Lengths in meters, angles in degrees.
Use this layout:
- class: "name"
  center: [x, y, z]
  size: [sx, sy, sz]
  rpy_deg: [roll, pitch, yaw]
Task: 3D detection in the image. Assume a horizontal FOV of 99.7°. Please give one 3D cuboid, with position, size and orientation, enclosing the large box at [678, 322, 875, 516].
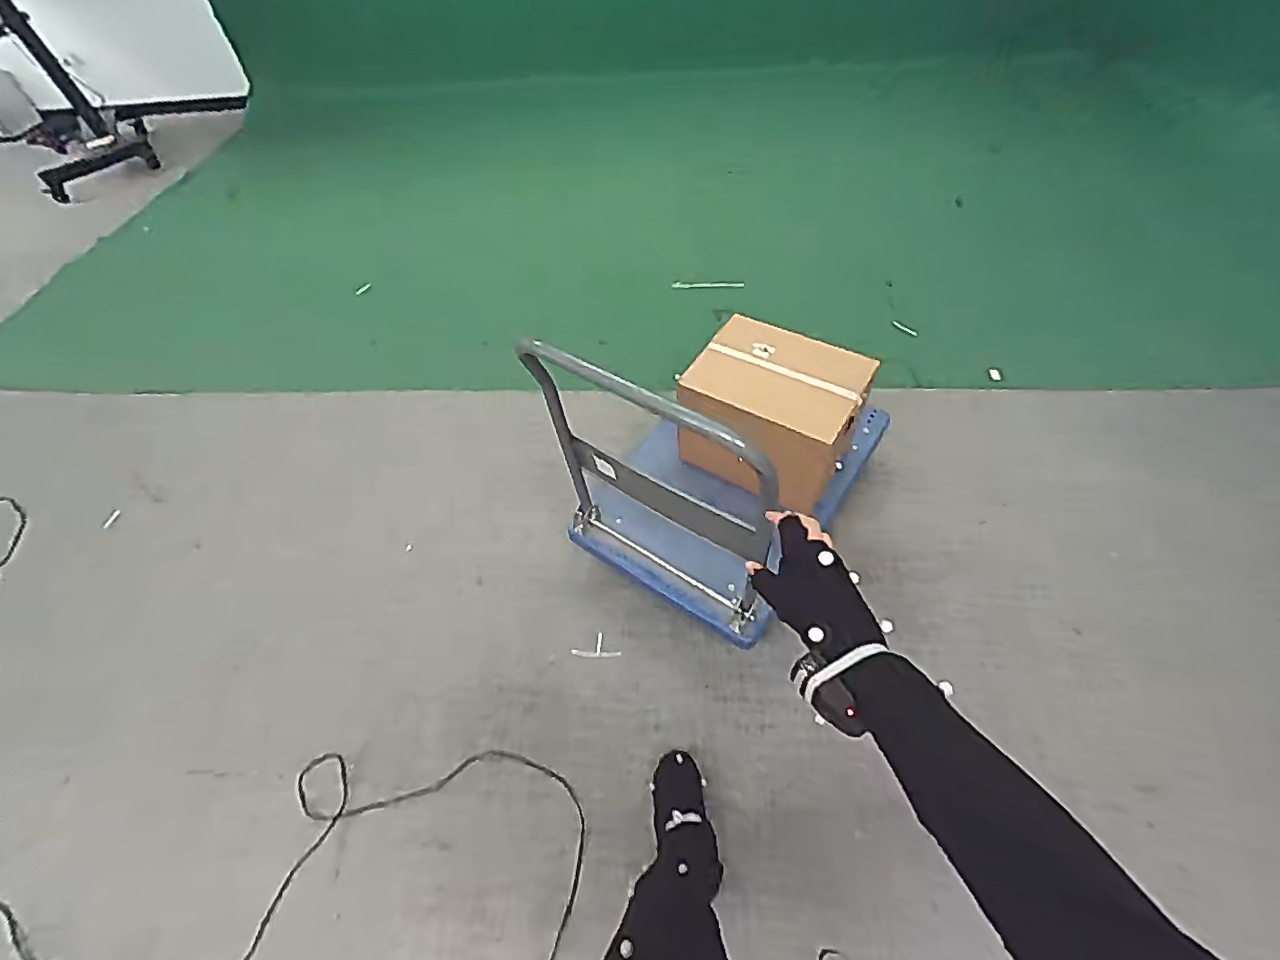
- class: "large box"
  center: [0.355, -0.166, 1.468]
  size: [0.408, 0.320, 0.320]
  rpy_deg: [26, 59, 23]
